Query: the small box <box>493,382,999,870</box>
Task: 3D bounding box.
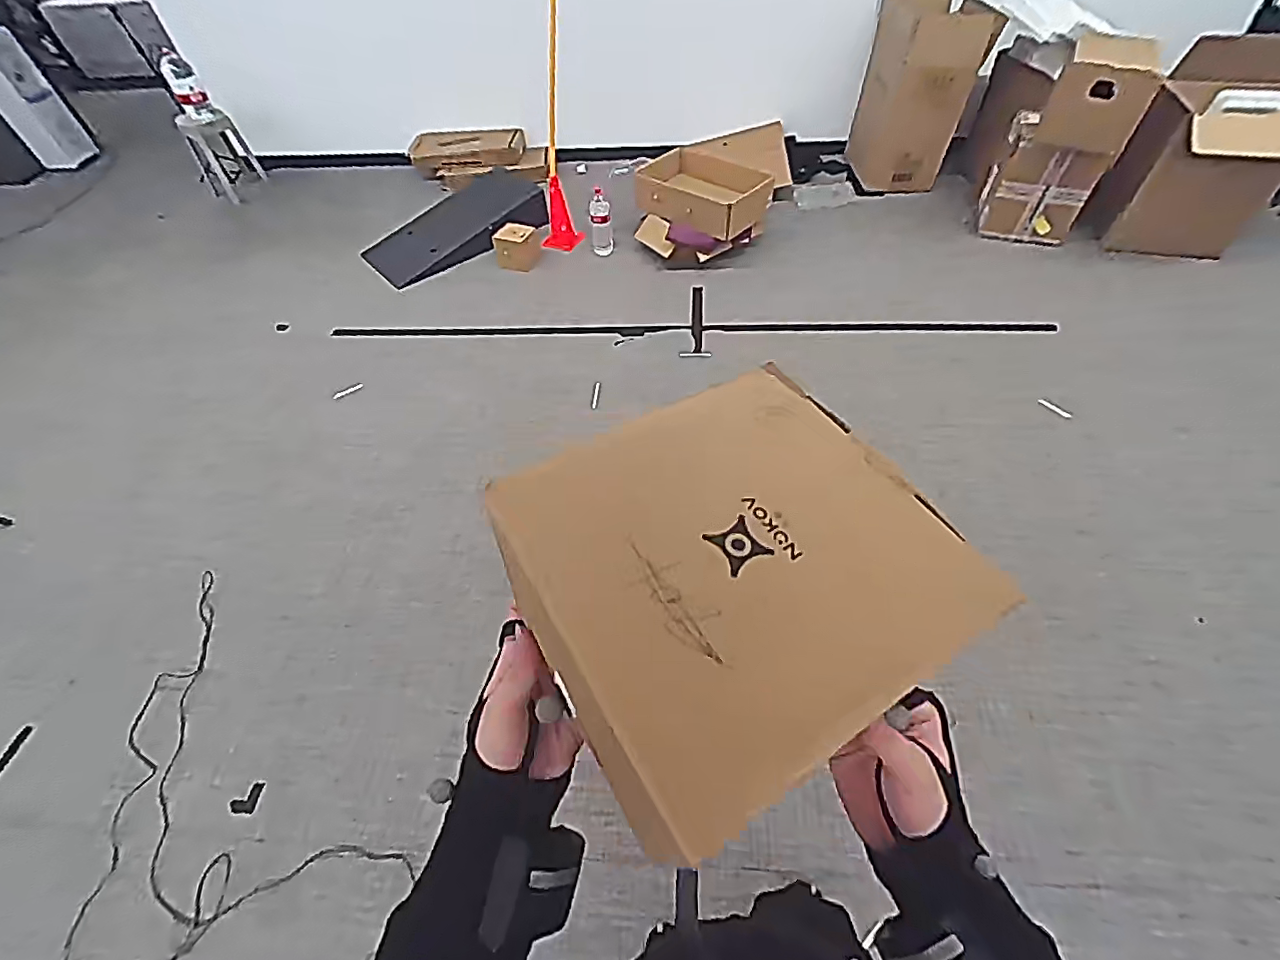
[{"bbox_3d":[0.041,0.082,0.310,0.179,0.176,0.168,-28,60,-20],"label":"small box"}]
